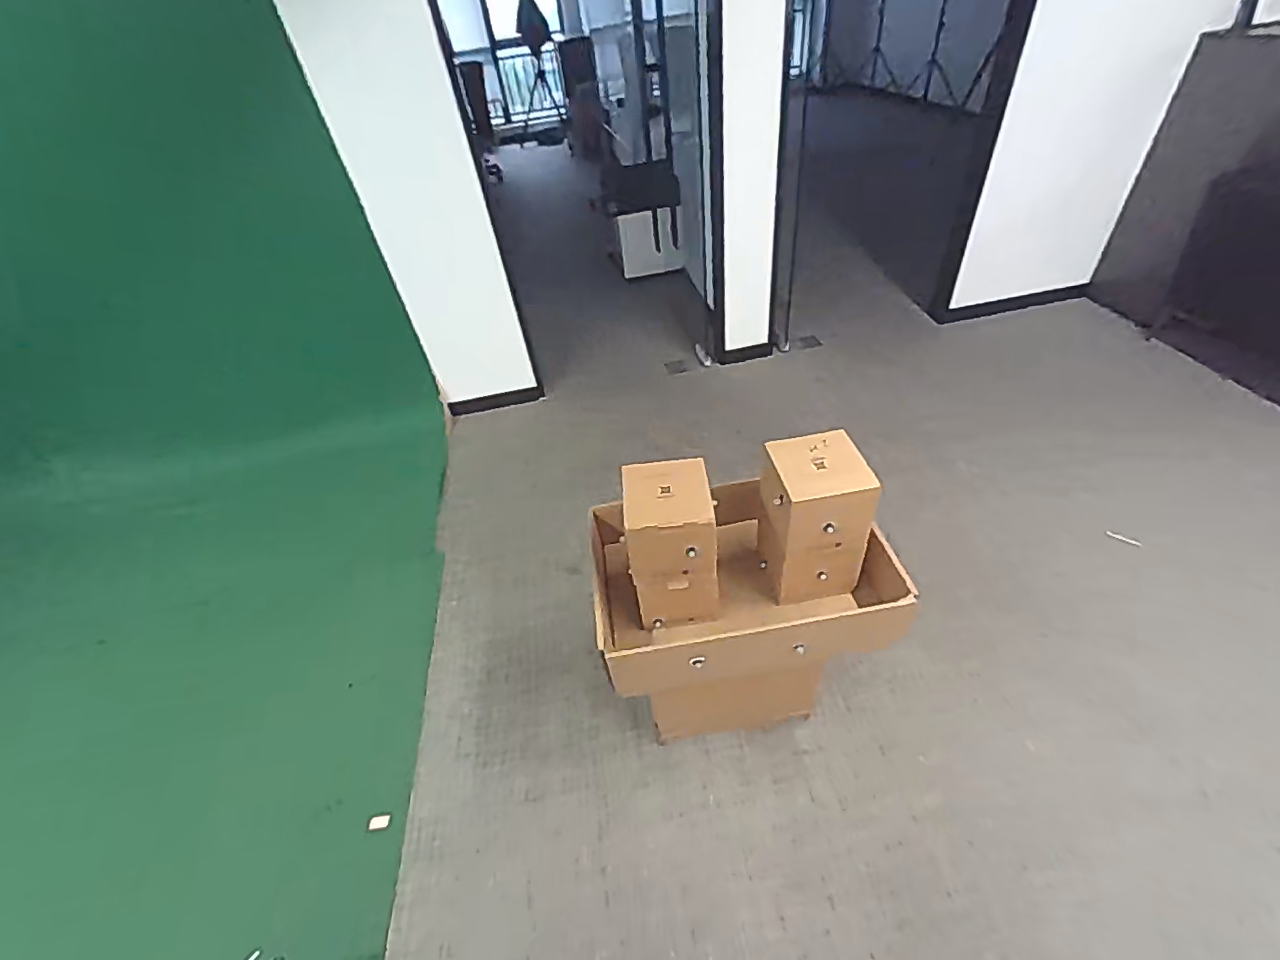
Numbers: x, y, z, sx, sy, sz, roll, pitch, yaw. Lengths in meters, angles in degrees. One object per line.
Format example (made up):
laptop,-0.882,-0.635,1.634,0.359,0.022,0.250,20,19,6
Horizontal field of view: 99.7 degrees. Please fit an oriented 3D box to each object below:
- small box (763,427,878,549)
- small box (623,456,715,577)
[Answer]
small box,0.348,0.022,1.077,0.168,0.176,0.179,-10,43,-1
small box,0.057,0.078,1.072,0.168,0.176,0.179,-6,42,2
